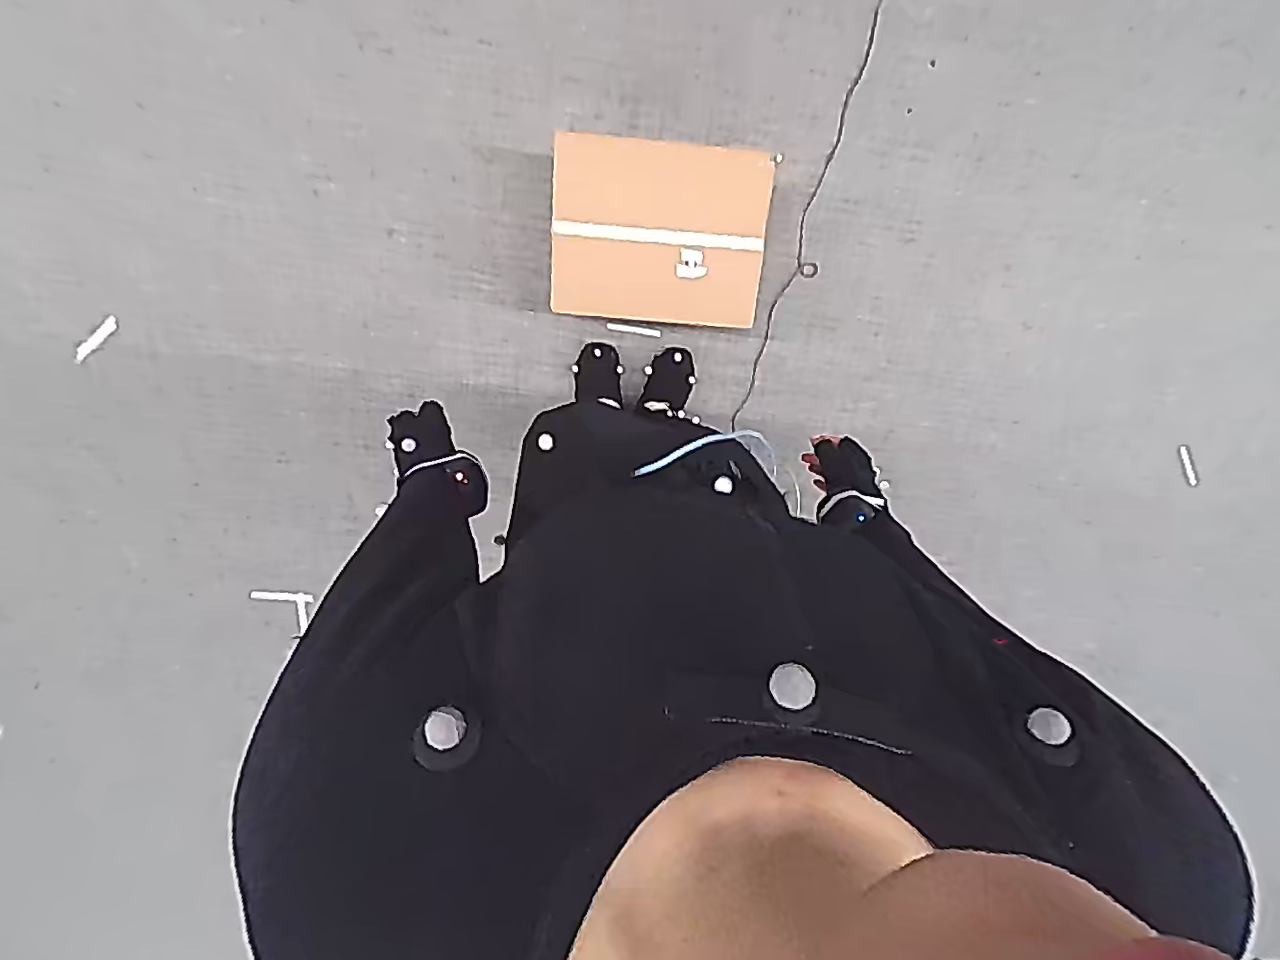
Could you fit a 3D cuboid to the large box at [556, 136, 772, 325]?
[{"bbox_3d":[0.031,-0.516,1.176,0.408,0.320,0.320,3,110,-4],"label":"large box"}]
